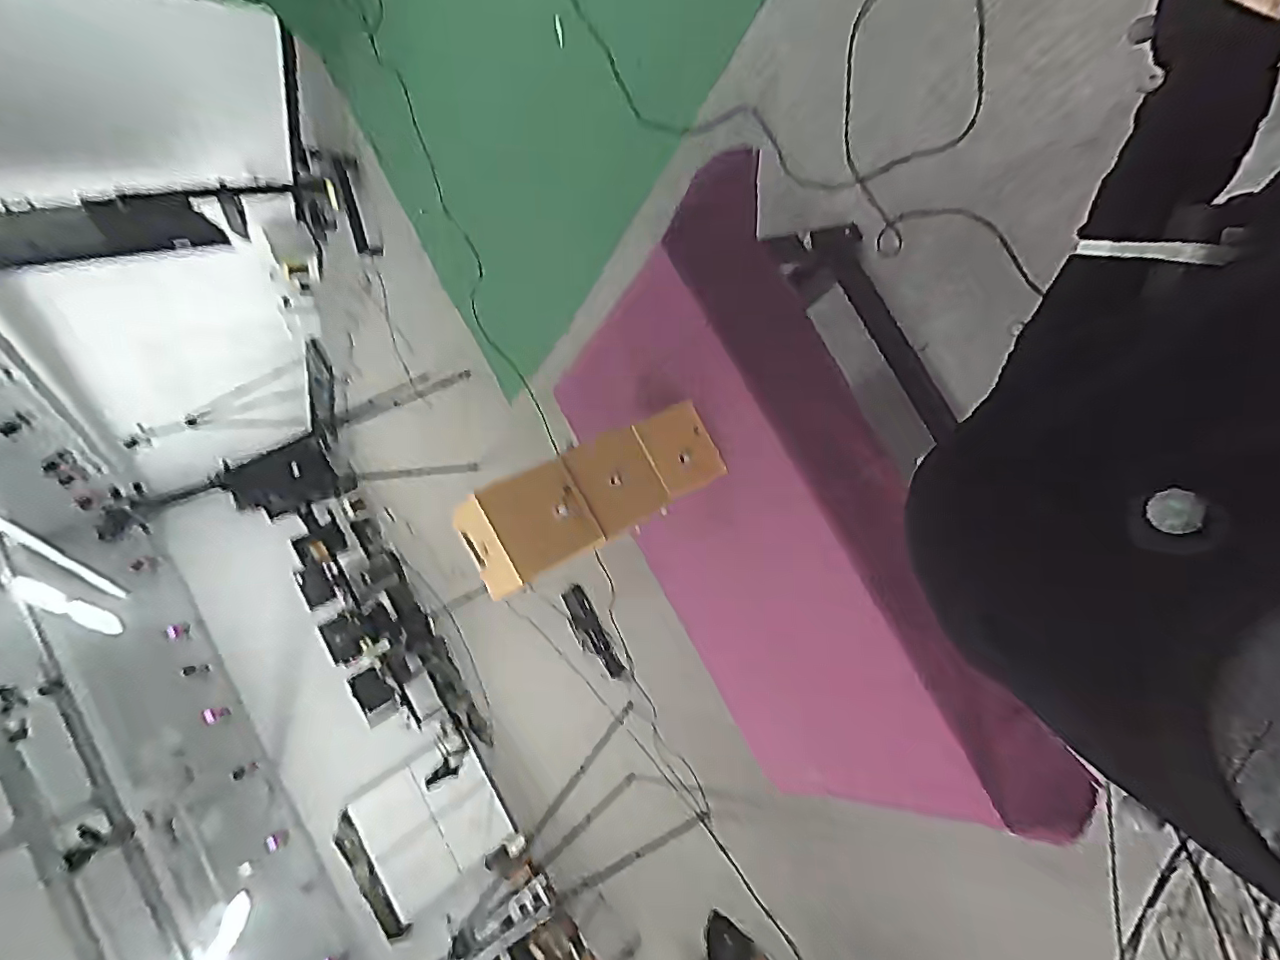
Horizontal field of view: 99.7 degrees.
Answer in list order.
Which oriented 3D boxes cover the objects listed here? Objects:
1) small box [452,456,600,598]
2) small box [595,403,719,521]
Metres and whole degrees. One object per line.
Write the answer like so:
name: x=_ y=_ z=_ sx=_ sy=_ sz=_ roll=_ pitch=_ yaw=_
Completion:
small box: x=-0.196 y=0.082 z=0.932 sx=0.168 sy=0.176 sz=0.179 roll=60 pitch=144 yaw=3
small box: x=0.041 y=-0.039 z=1.125 sx=0.179 sy=0.176 sz=0.168 roll=-32 pitch=86 yaw=55
